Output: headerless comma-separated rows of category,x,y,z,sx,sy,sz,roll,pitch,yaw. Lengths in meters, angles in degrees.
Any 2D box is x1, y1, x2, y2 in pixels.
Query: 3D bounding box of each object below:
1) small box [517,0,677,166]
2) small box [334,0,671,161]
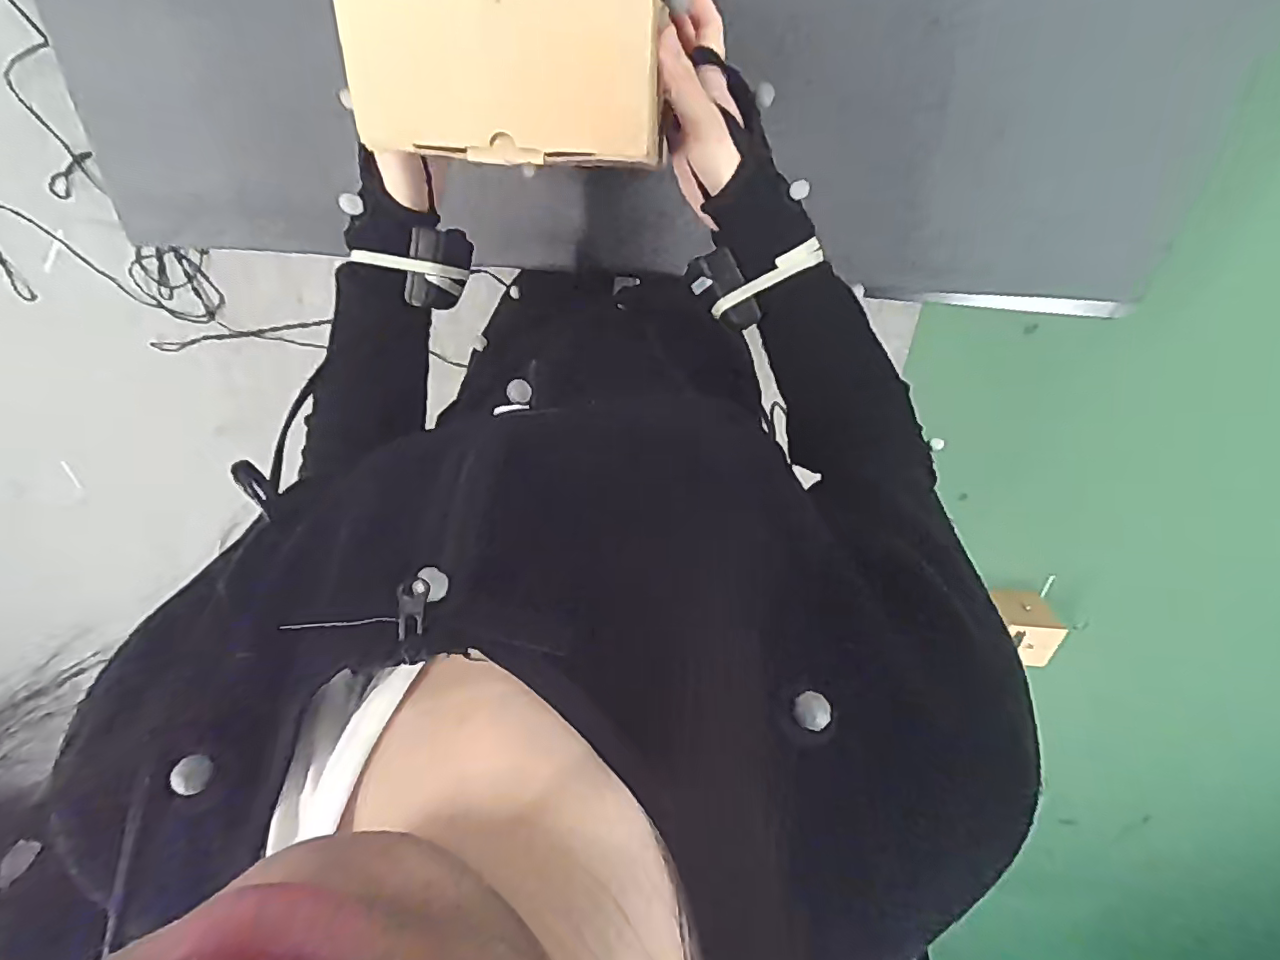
small box,-0.055,-0.379,0.467,0.168,0.176,0.179,4,120,3
small box,-0.067,-0.300,0.326,0.168,0.176,0.179,4,120,2
